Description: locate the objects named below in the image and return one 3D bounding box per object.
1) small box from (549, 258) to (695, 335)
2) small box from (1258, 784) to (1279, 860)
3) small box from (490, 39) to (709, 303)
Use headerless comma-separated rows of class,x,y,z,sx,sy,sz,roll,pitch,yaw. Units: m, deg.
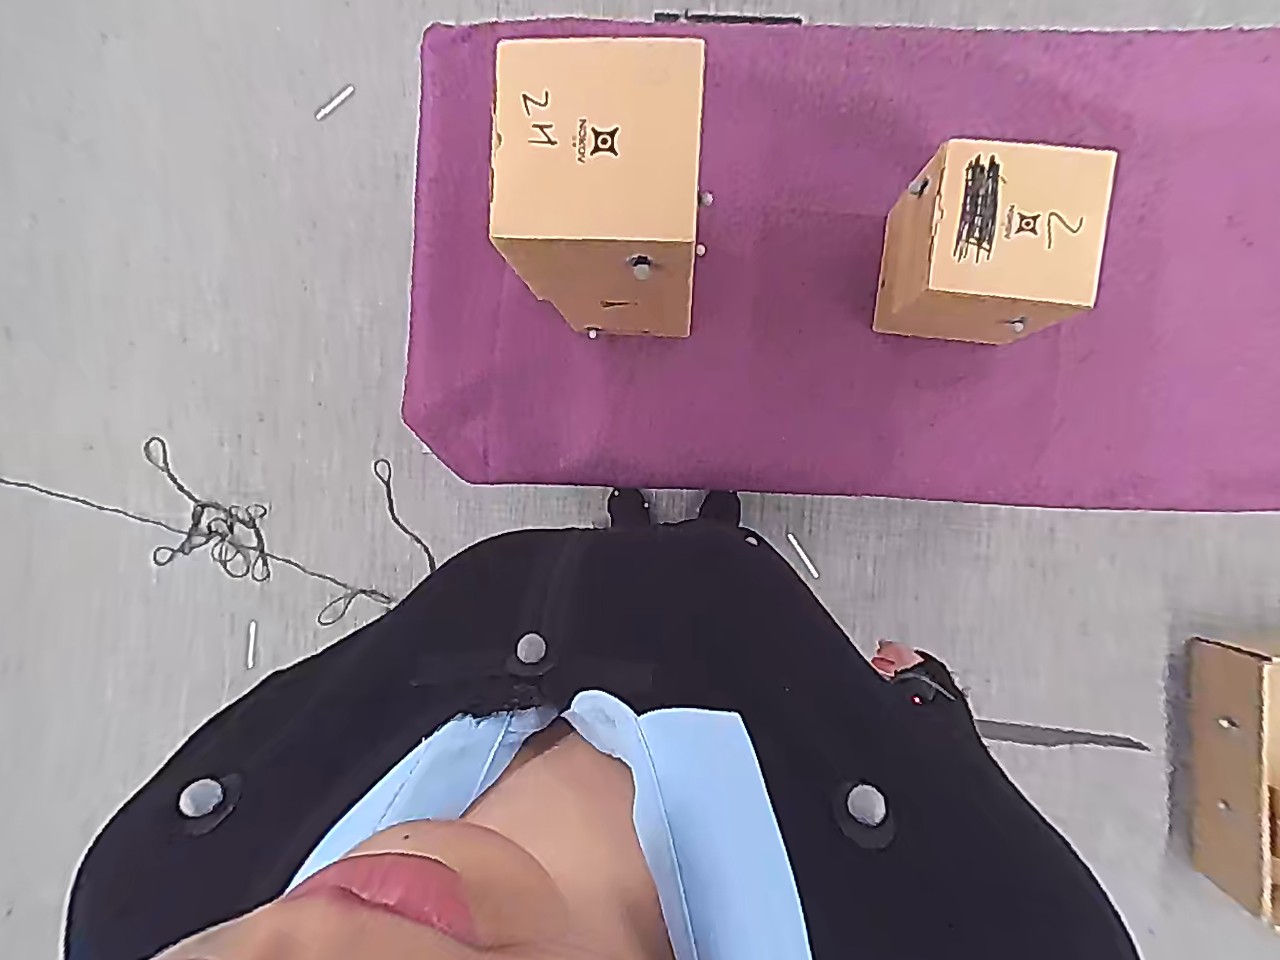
small box,-0.014,-0.291,0.690,0.168,0.176,0.179,4,91,4
small box,1.608,0.829,1.247,0.179,0.176,0.168,-1,90,5
small box,-0.030,-0.280,0.526,0.179,0.176,0.168,3,91,4
